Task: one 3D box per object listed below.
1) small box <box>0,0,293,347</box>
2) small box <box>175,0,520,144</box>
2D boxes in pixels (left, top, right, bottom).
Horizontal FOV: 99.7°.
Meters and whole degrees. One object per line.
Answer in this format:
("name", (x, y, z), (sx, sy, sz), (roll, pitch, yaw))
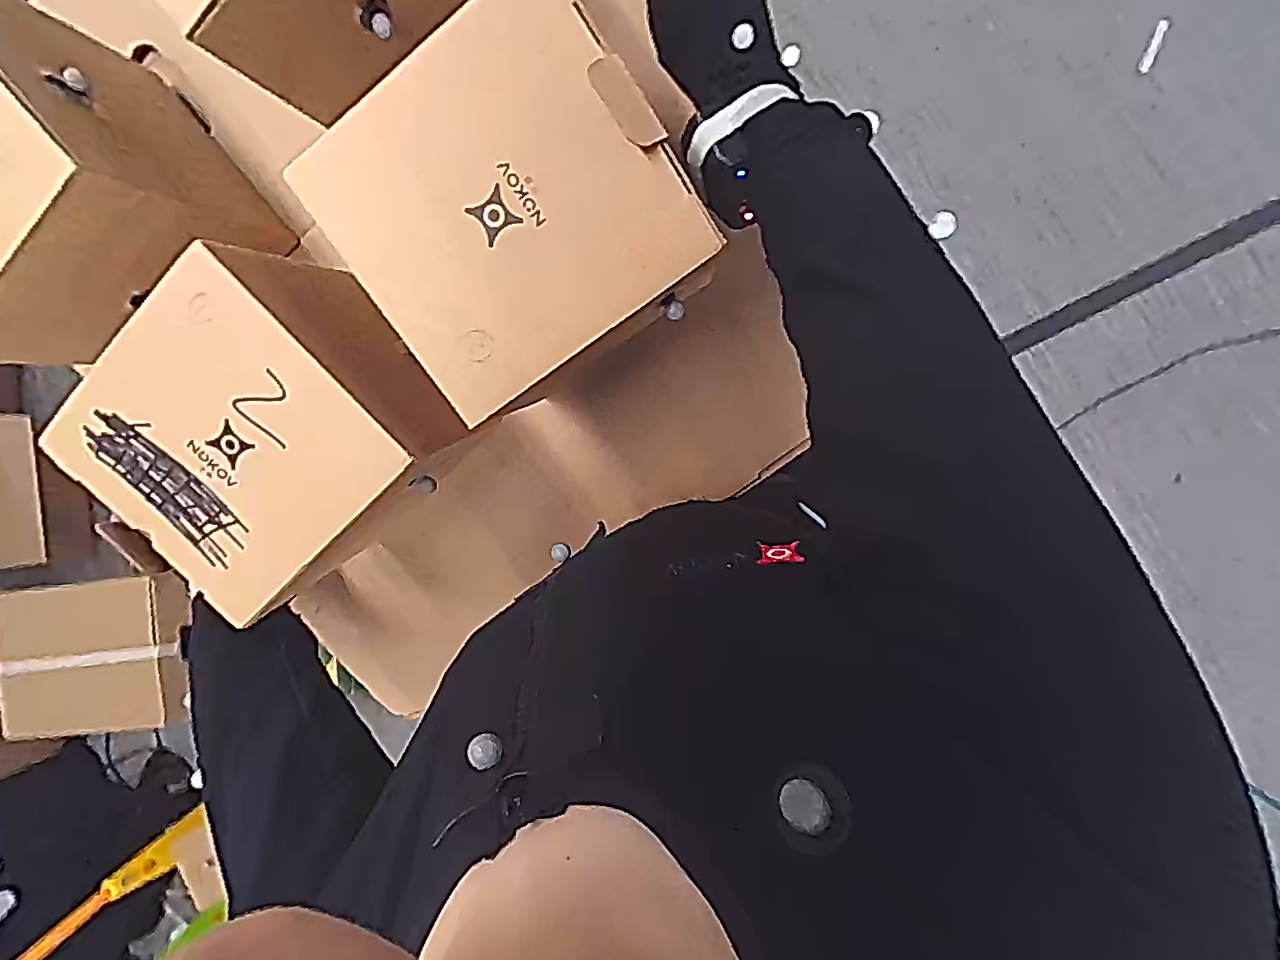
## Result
("small box", (-0.407, -0.214, 0.390), (0.168, 0.176, 0.179), (-36, 94, 12))
("small box", (-0.194, -0.359, 0.331), (0.179, 0.176, 0.168), (-35, 95, 14))
